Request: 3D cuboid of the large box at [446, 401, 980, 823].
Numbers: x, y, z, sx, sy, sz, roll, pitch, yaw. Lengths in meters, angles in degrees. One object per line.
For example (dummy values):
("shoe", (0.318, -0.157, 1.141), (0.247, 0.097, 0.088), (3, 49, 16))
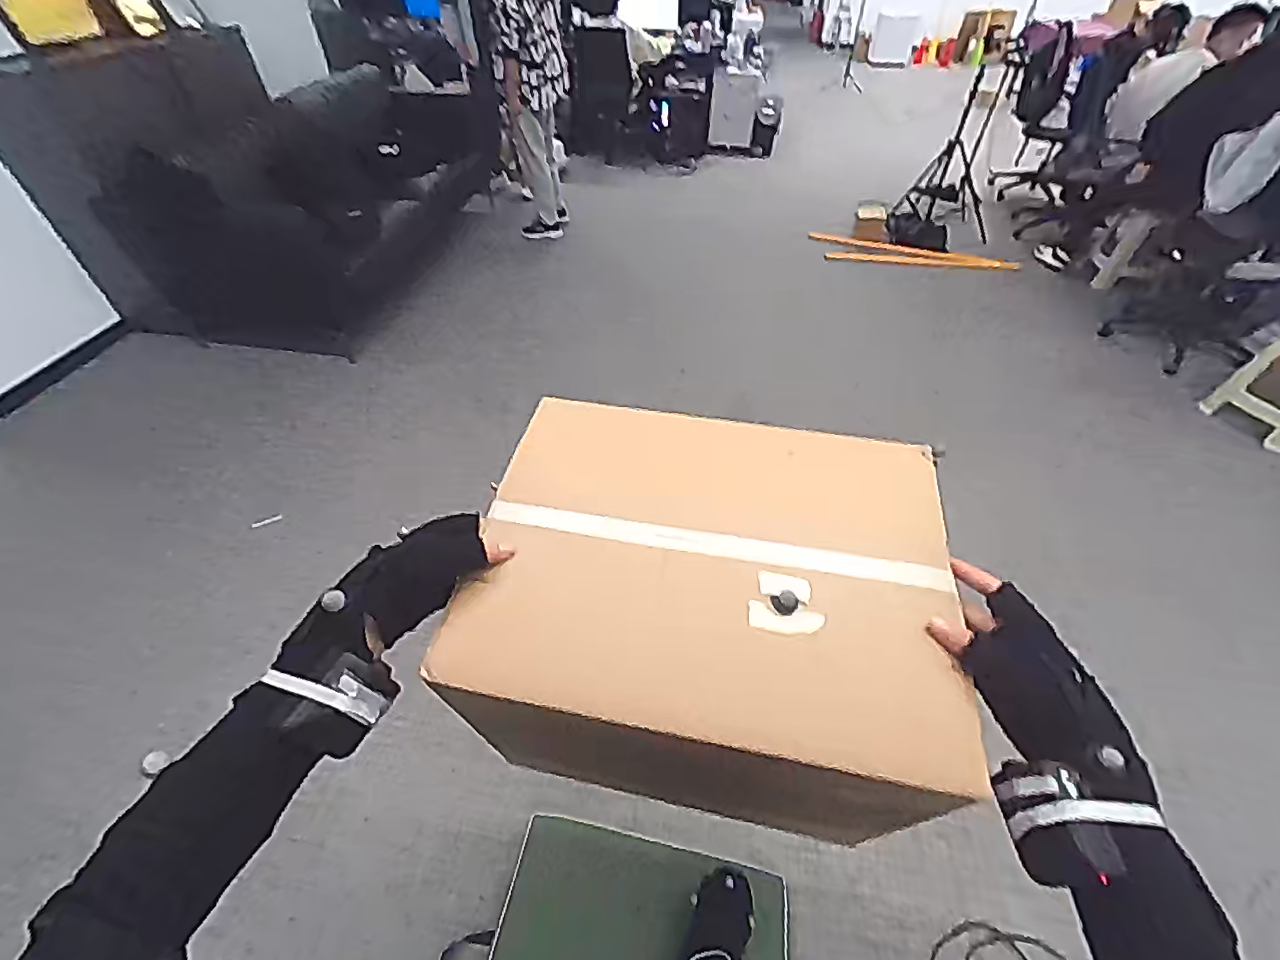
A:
("large box", (0.069, 0.147, 0.602), (0.408, 0.320, 0.320), (9, 53, 7))
